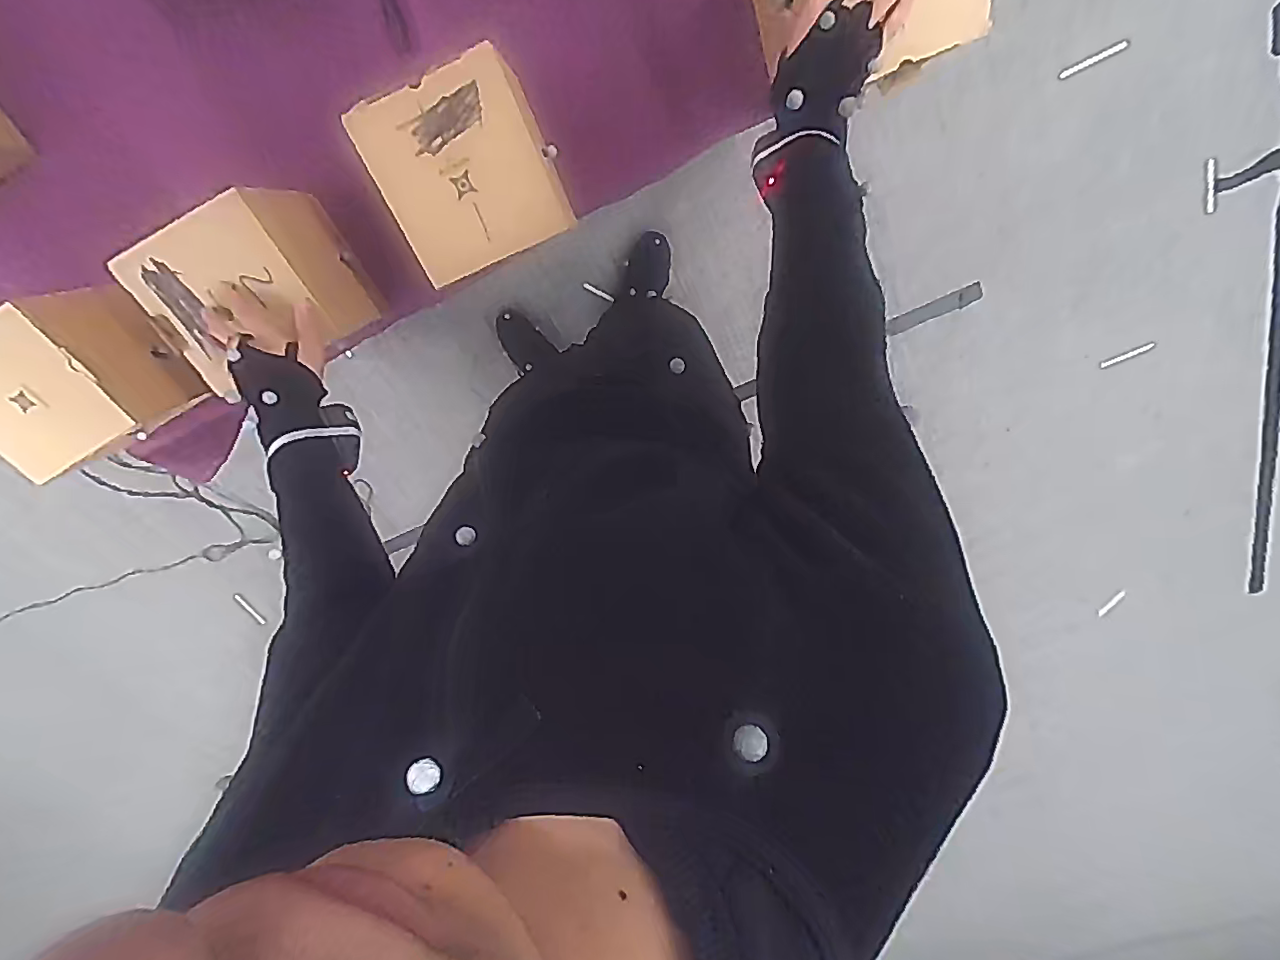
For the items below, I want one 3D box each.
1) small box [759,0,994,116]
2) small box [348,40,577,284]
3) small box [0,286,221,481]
[{"bbox_3d":[0.226,-0.510,0.554,0.168,0.176,0.179,-19,117,8],"label":"small box"},{"bbox_3d":[-0.183,-0.348,0.620,0.168,0.176,0.179,-21,117,8],"label":"small box"},{"bbox_3d":[-0.715,-0.132,0.707,0.179,0.176,0.168,-27,115,10],"label":"small box"}]
